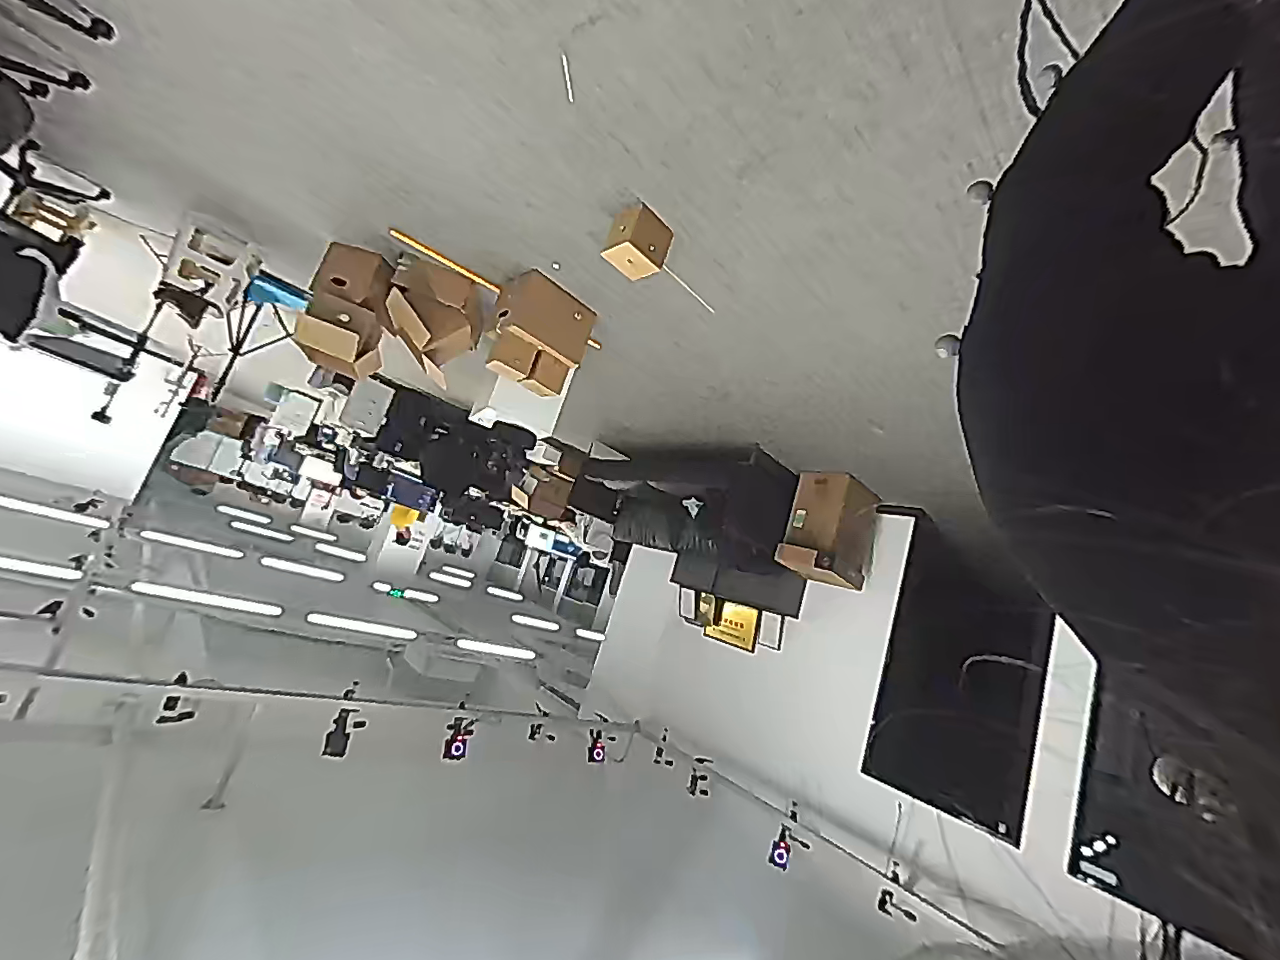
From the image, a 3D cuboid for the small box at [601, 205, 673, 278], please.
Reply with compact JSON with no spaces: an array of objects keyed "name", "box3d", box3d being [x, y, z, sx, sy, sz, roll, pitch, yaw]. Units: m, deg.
[{"name":"small box","box3d":[-0.008,-0.879,1.984,0.179,0.176,0.168,25,167,-39]}]
